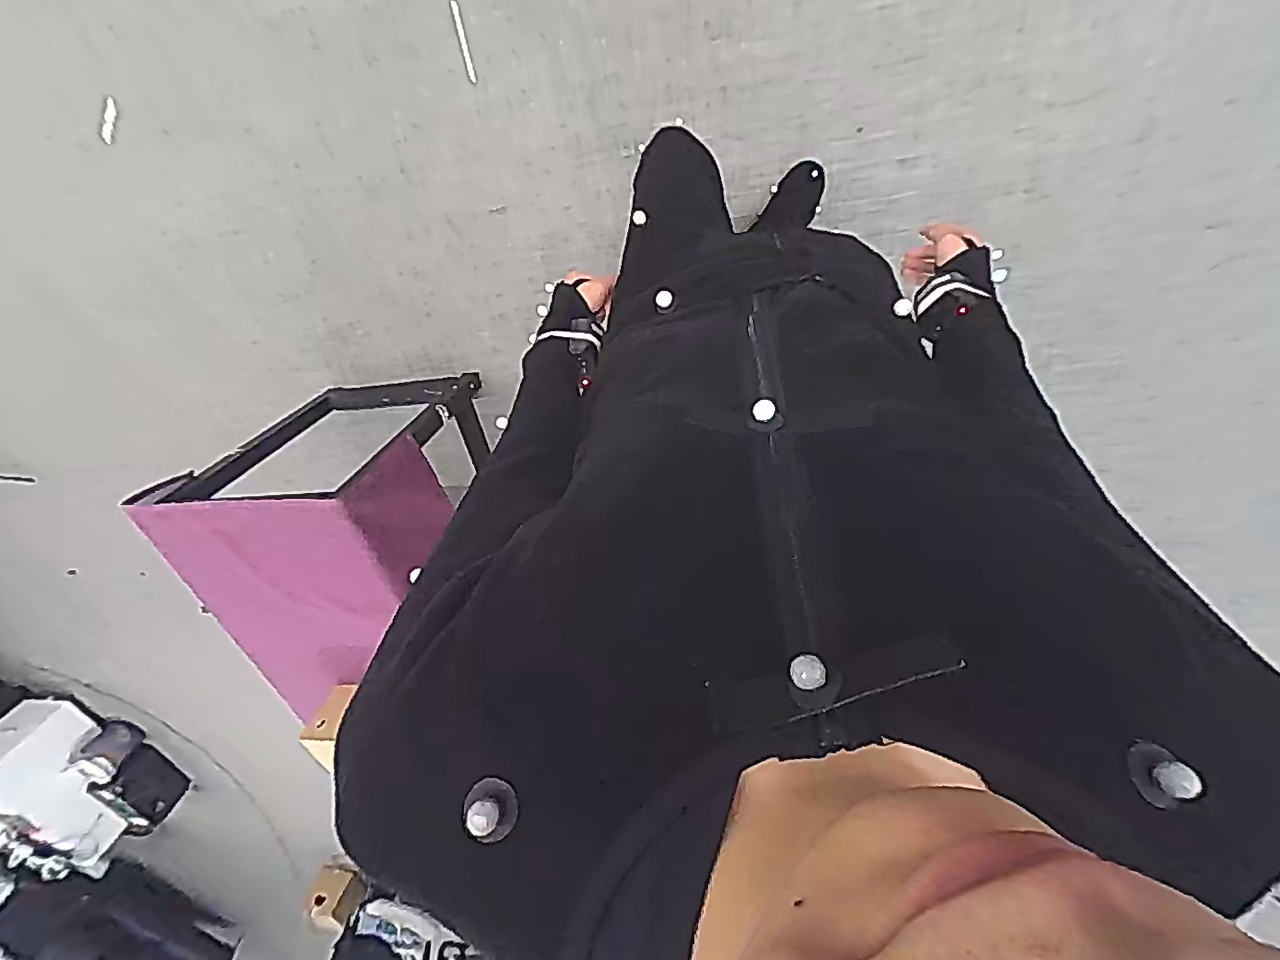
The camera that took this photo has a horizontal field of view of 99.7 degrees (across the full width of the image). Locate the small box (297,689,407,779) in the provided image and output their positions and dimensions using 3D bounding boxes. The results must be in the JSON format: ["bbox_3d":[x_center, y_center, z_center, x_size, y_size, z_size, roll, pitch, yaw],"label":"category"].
[{"bbox_3d":[-0.790,0.700,1.501,0.179,0.176,0.168,-7,122,15],"label":"small box"}]
